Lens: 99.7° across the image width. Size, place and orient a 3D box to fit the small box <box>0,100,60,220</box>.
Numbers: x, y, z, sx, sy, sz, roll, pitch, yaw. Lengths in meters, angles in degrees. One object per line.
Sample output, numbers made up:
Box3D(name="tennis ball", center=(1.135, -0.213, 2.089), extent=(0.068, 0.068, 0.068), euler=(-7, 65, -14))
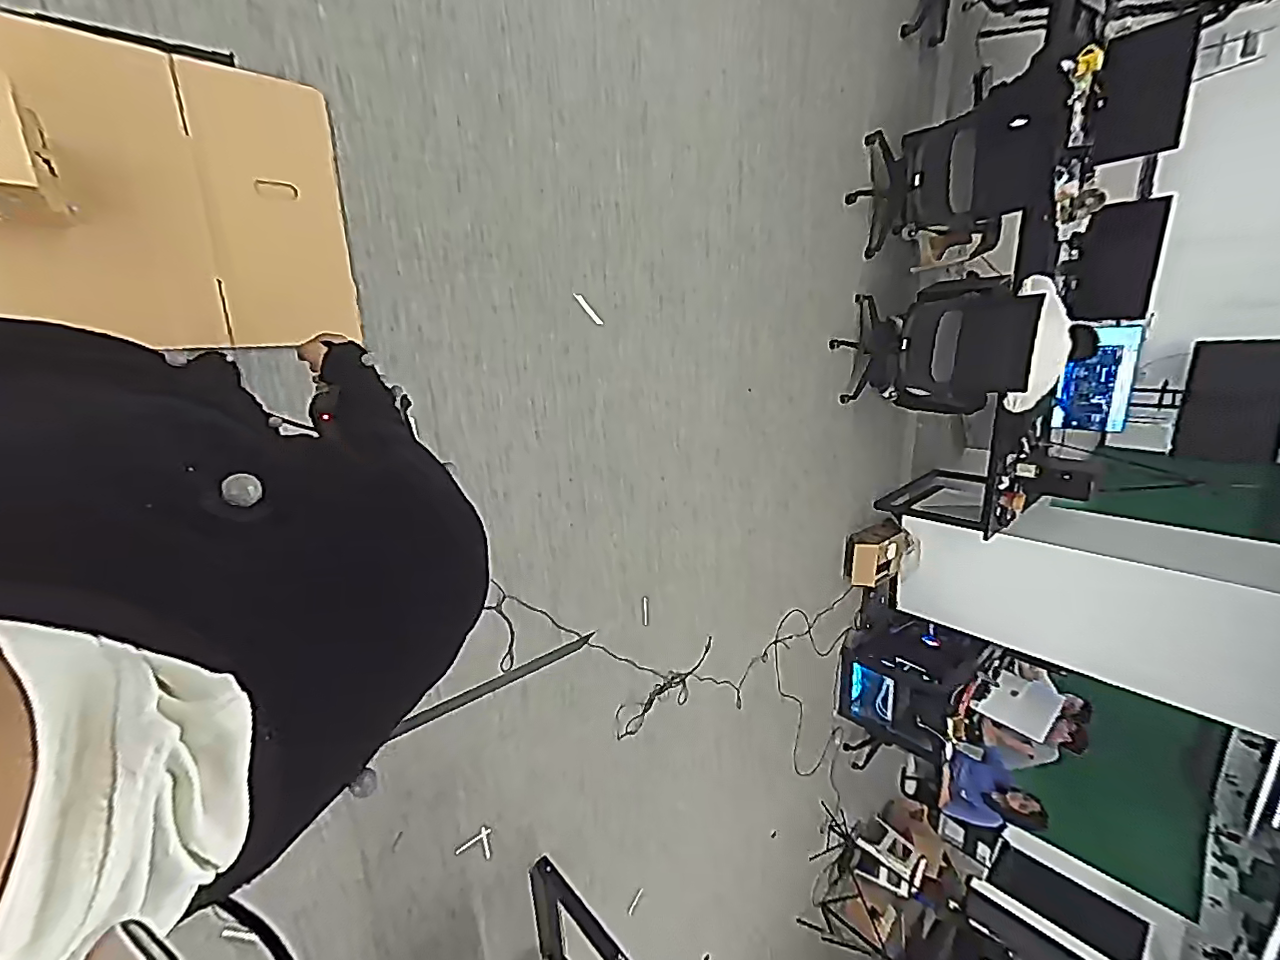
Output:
Box3D(name="small box", center=(-1.169, -0.565, 0.952), extent=(0.179, 0.176, 0.168), euler=(-15, 109, -39))
